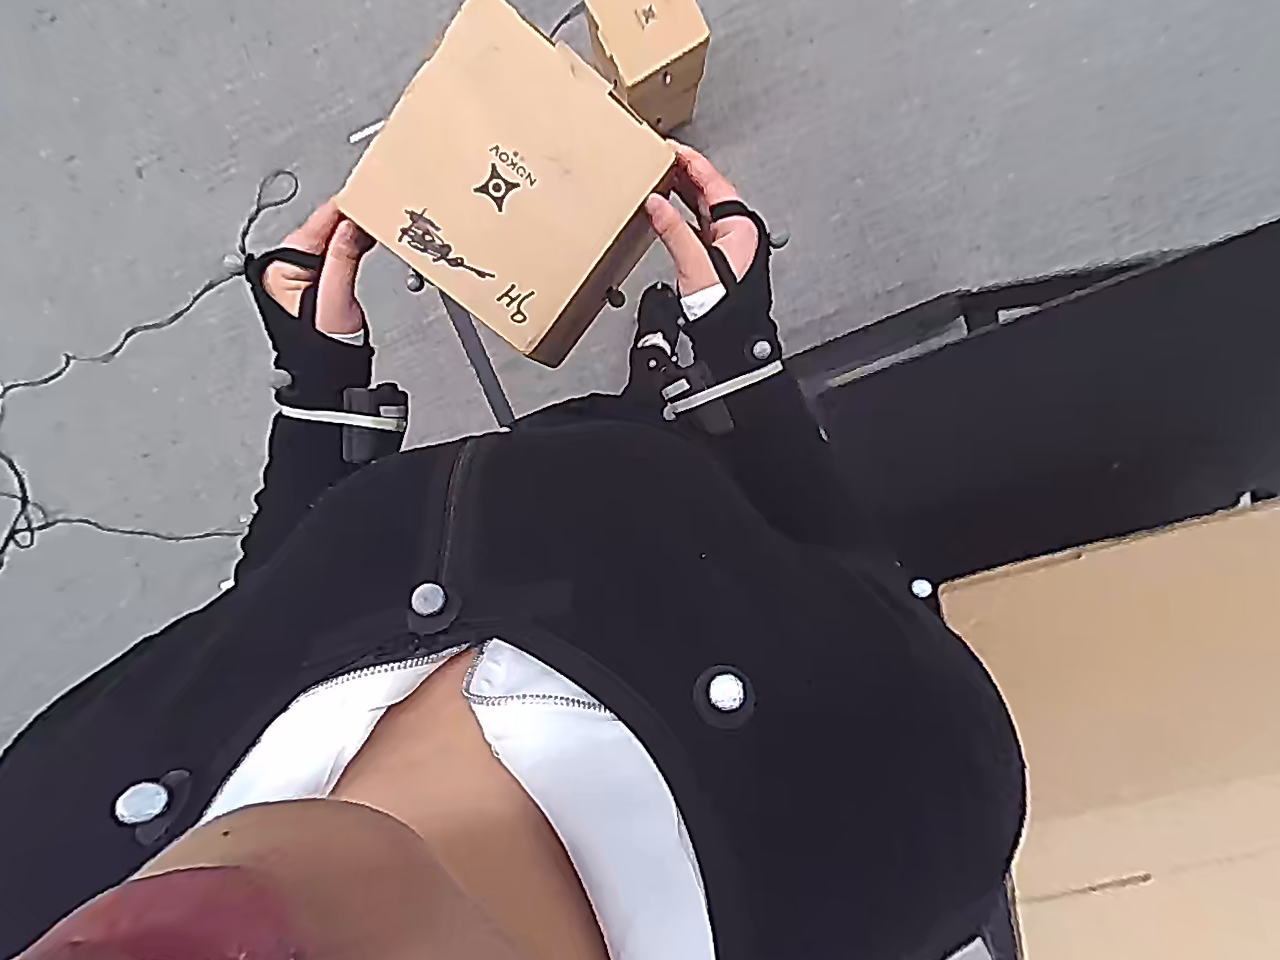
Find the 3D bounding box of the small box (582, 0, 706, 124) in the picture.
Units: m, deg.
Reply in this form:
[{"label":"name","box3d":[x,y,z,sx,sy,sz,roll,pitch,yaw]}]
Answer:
[{"label":"small box","box3d":[0.010,-0.838,1.048,0.179,0.176,0.168,-28,101,6]}]

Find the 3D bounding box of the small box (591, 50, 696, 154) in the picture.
[{"label":"small box","box3d":[0.008,-0.872,1.207,0.179,0.176,0.168,-25,101,7]}]
